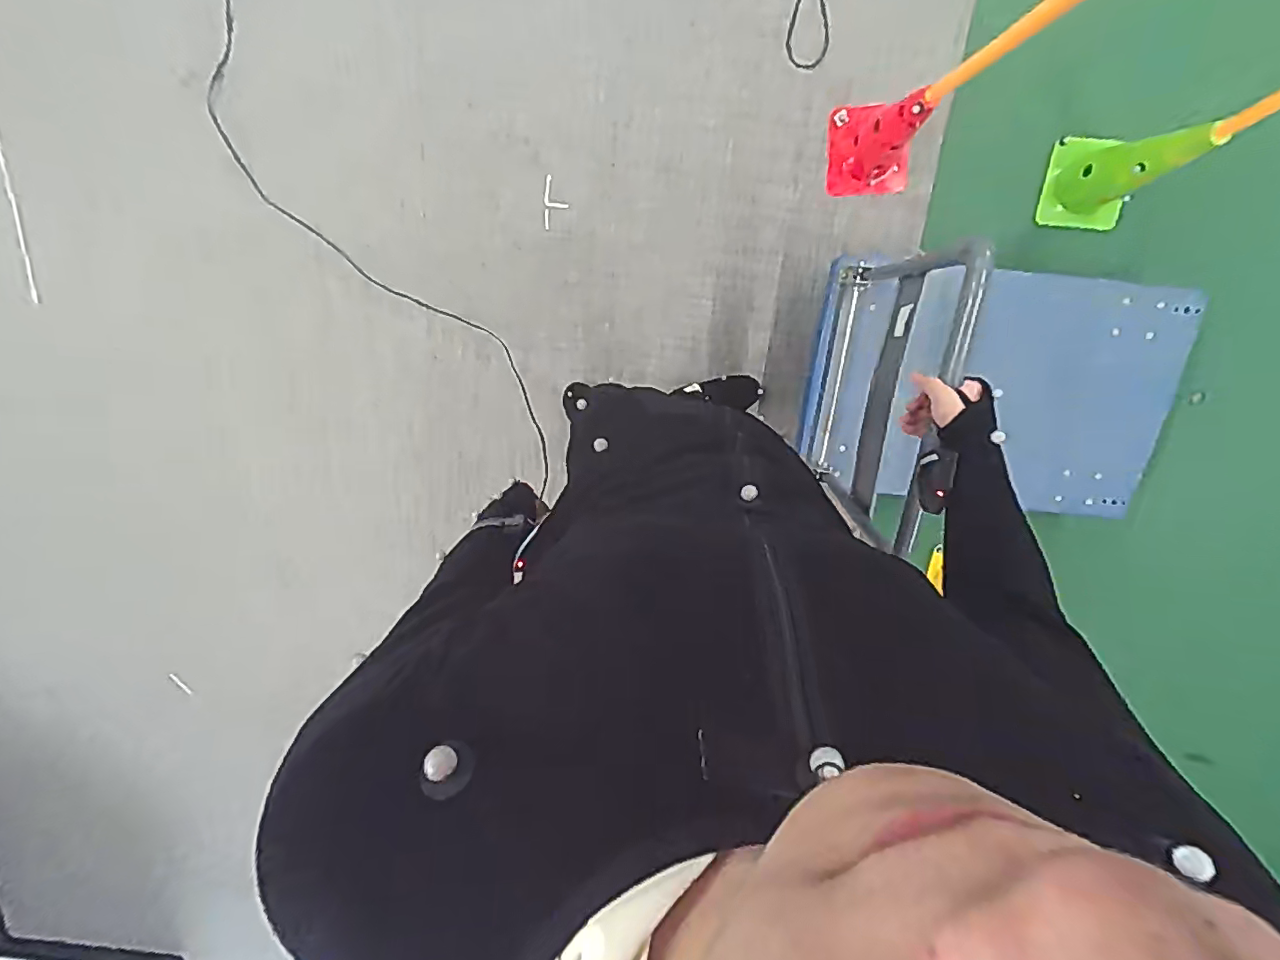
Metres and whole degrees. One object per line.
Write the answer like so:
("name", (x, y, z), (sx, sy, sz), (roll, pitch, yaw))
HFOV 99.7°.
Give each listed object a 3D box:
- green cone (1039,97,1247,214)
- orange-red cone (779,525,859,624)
("green cone", (1.081, -0.715, 1.150), (0.202, 0.368, 0.200), (4, 106, 2))
("orange-red cone", (0.527, 0.283, 1.486), (0.199, 0.360, 0.198), (4, 107, 1))
